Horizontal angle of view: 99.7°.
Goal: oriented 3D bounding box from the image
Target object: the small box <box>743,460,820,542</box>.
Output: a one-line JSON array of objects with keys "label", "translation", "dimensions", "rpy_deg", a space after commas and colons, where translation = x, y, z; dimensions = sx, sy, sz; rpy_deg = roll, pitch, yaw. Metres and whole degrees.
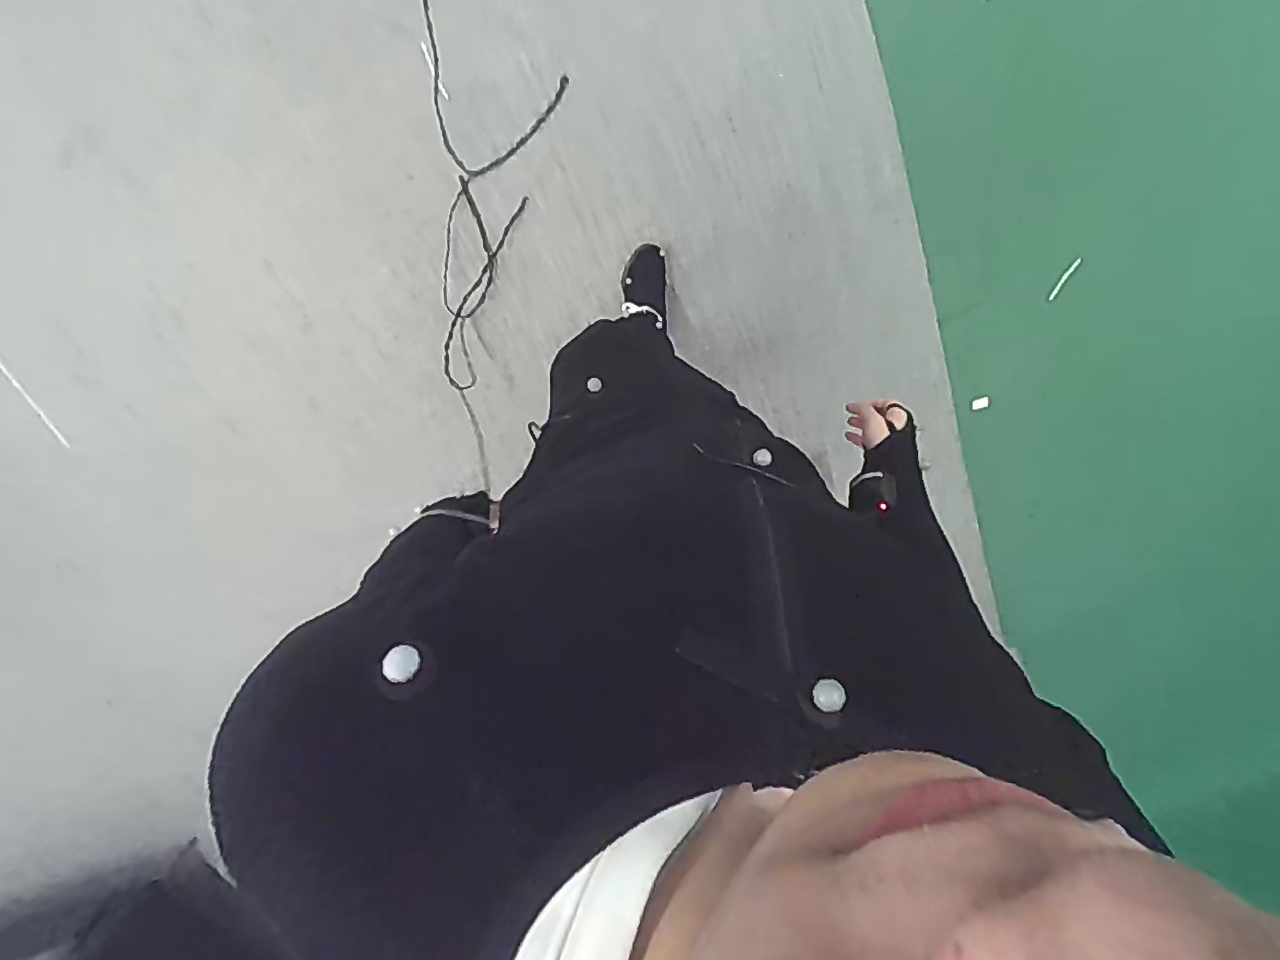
[{"label": "small box", "translation": [0.414, 0.054, 1.604], "dimensions": [0.168, 0.176, 0.179], "rpy_deg": [-17, 110, 7]}]
